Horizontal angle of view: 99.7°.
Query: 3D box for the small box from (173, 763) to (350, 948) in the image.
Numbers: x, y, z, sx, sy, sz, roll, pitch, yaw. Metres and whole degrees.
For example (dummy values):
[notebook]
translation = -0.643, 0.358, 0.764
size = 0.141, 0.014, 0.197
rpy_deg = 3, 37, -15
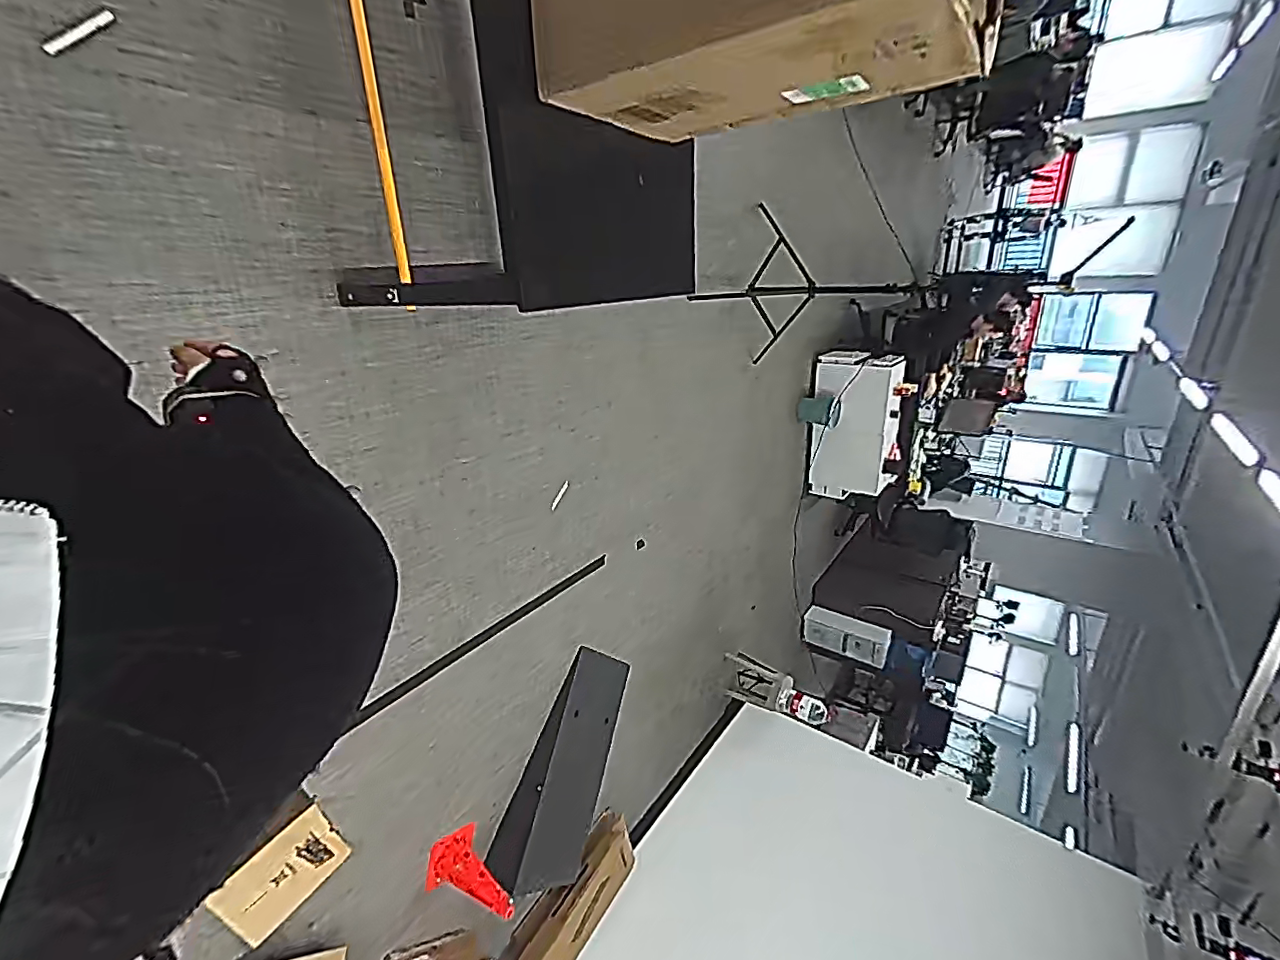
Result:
[small box]
translation = -0.658, 0.643, 0.948
size = 0.179, 0.176, 0.168
rpy_deg = -39, 131, -42
